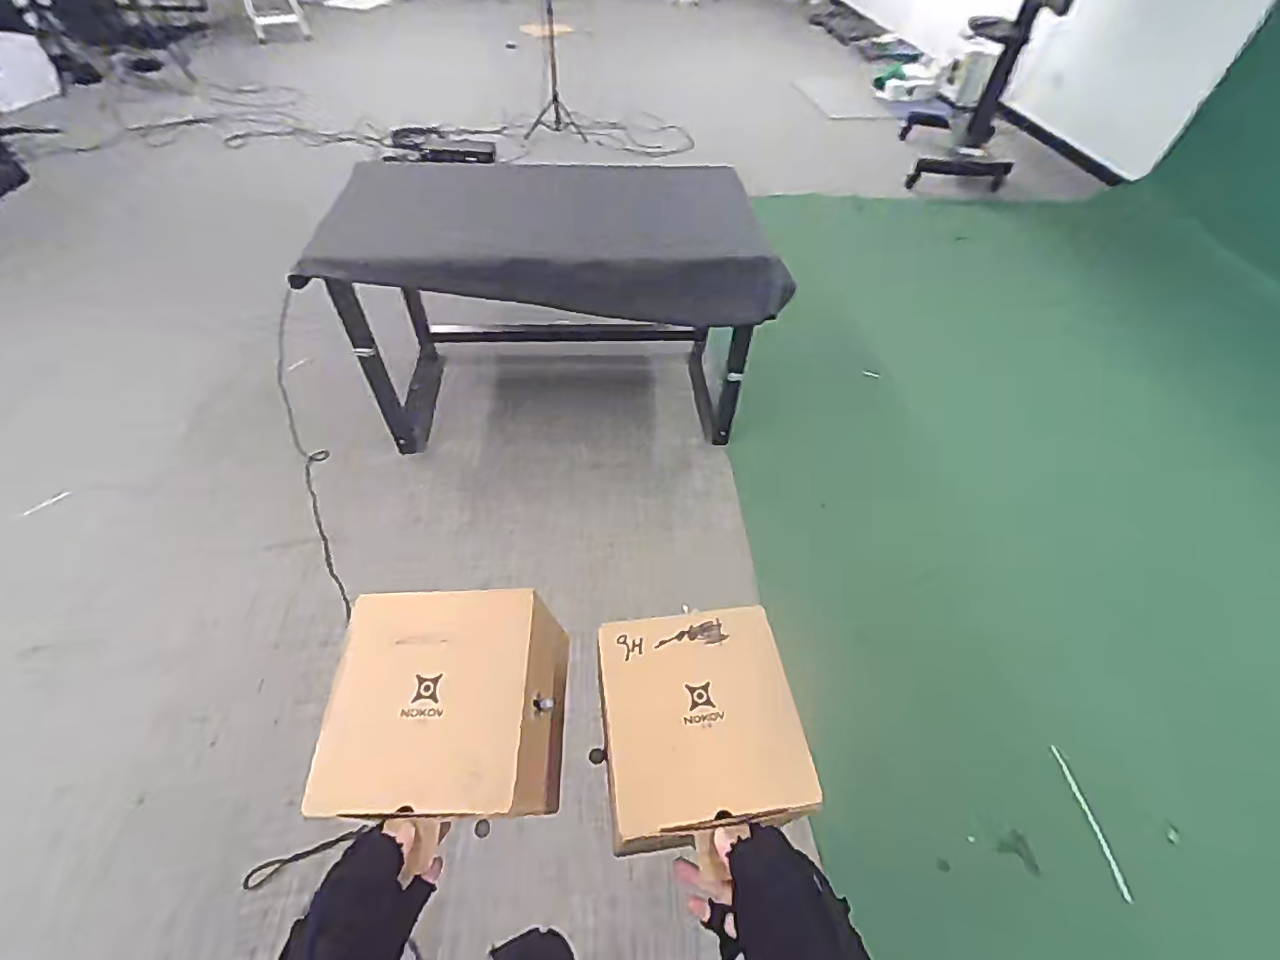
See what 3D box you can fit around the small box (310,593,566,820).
[{"bbox_3d":[-0.170,0.222,0.523,0.168,0.176,0.179,-3,59,3],"label":"small box"}]
